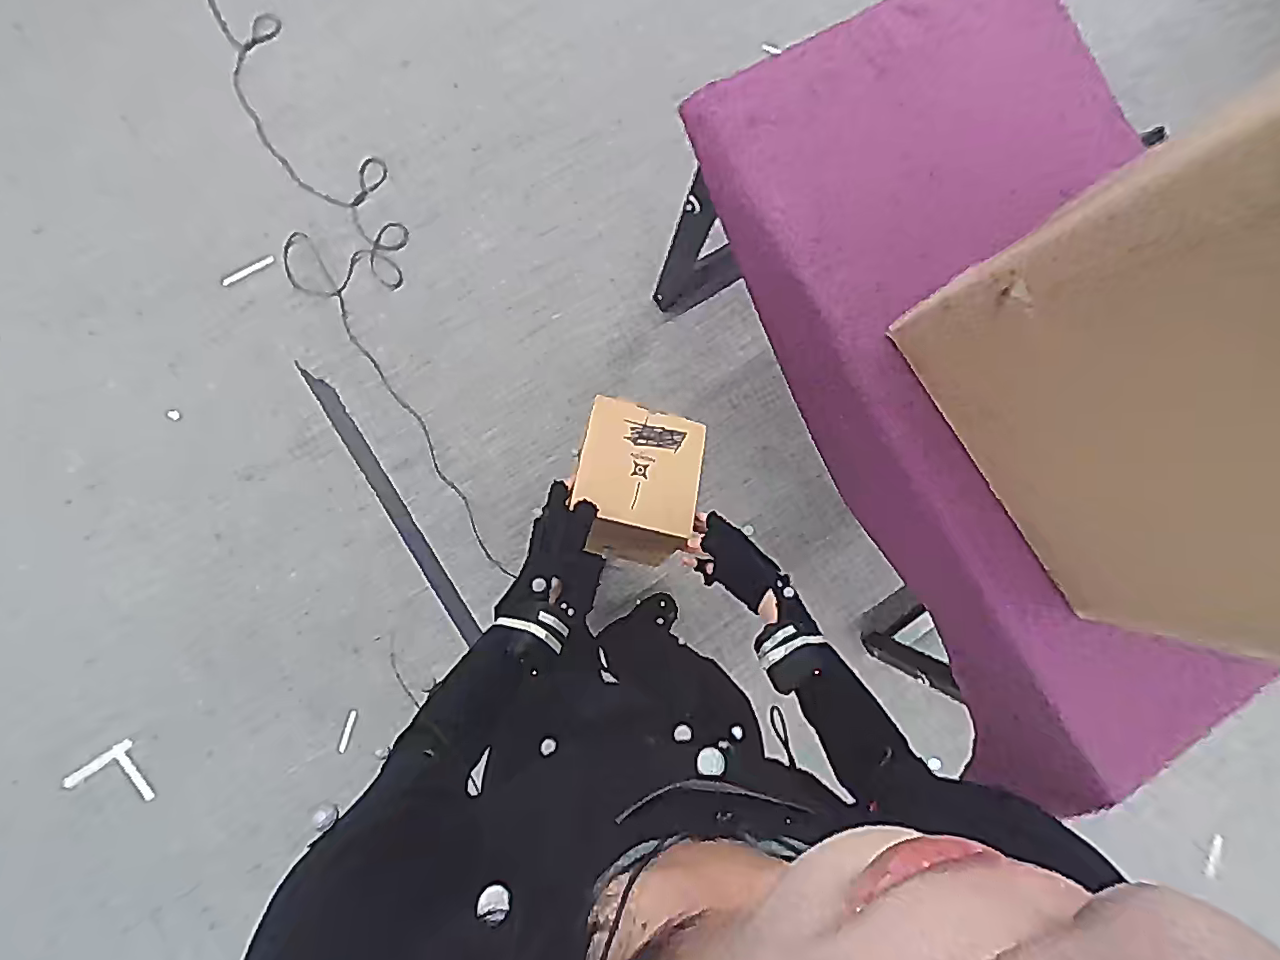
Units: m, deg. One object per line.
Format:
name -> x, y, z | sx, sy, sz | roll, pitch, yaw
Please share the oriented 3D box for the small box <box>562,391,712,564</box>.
small box -> -0.010, 0.006, 0.779 | 0.168, 0.176, 0.179 | 15, 66, -9
